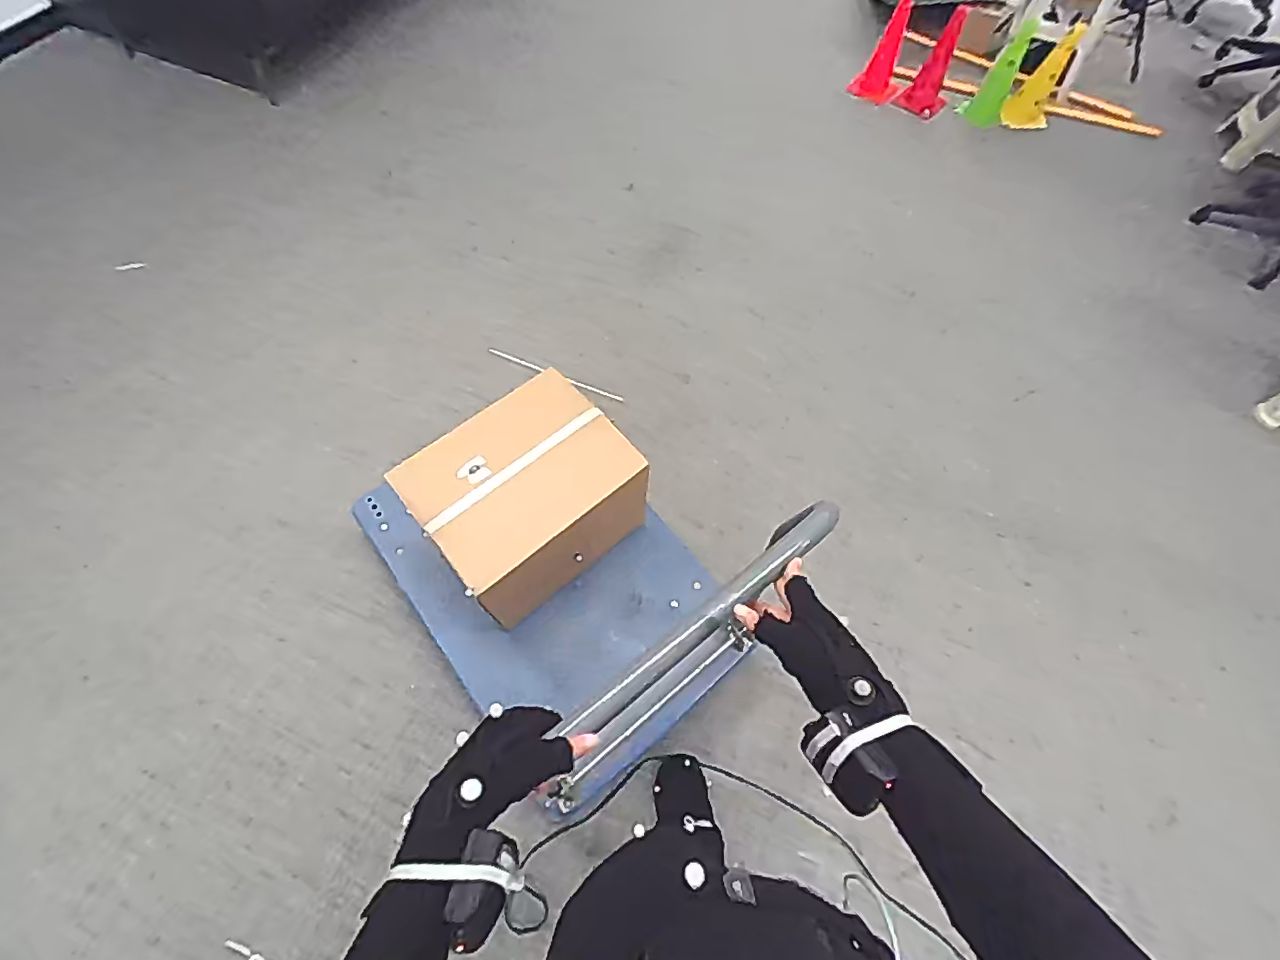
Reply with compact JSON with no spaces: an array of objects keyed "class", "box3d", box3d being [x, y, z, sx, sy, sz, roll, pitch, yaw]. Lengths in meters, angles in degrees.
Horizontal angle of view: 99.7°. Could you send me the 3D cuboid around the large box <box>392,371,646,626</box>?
[{"class":"large box","box3d":[-0.233,0.049,1.180,0.408,0.320,0.320,-38,70,-17]}]
